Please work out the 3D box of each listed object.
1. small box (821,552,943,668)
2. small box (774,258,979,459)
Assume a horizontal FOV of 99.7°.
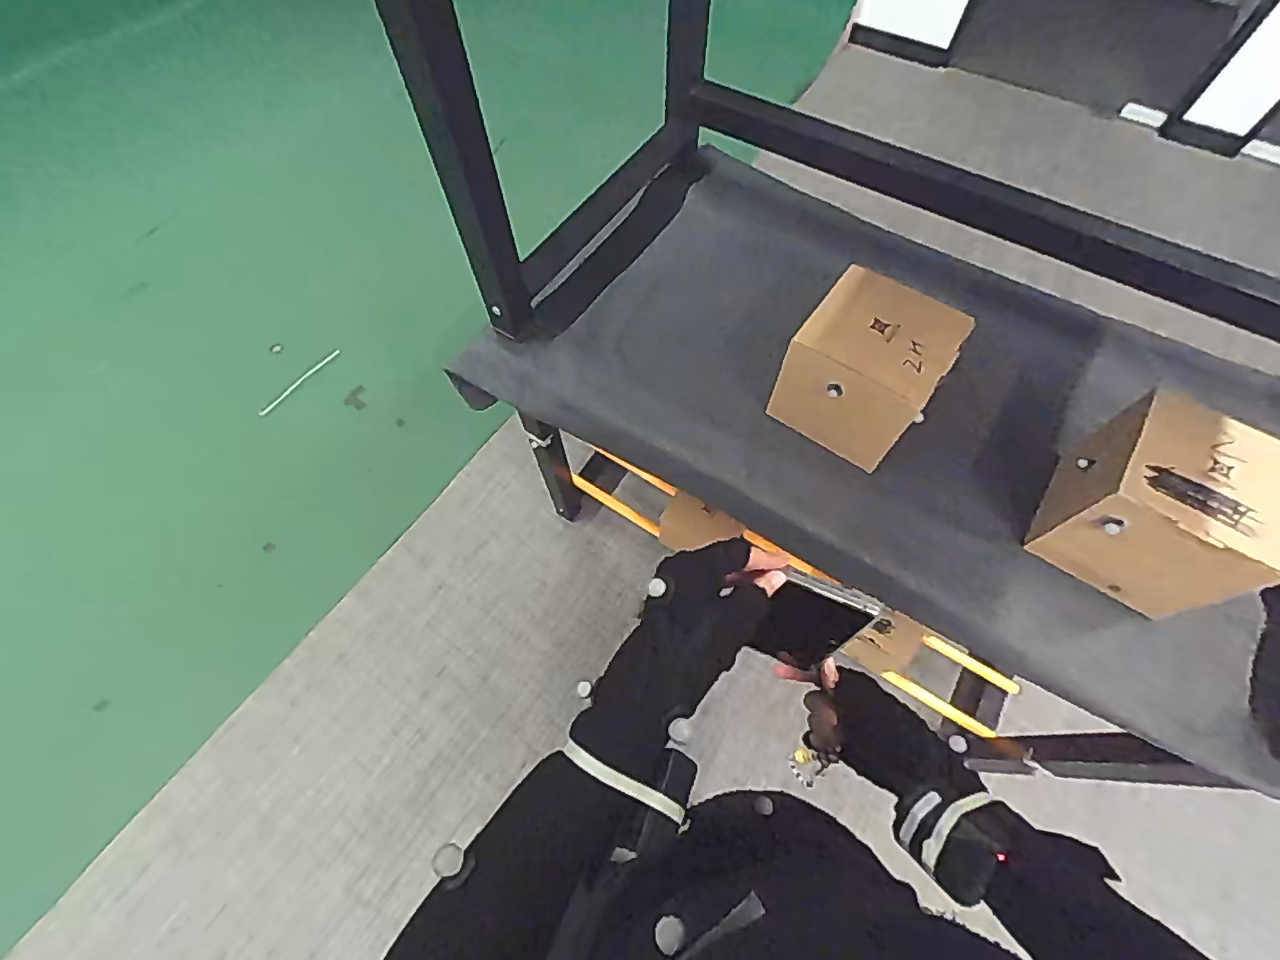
[{"bbox_3d":[0.527,0.296,1.204,0.168,0.176,0.179,34,69,16],"label":"small box"},{"bbox_3d":[0.306,-0.157,0.737,0.179,0.176,0.168,34,69,16],"label":"small box"}]
